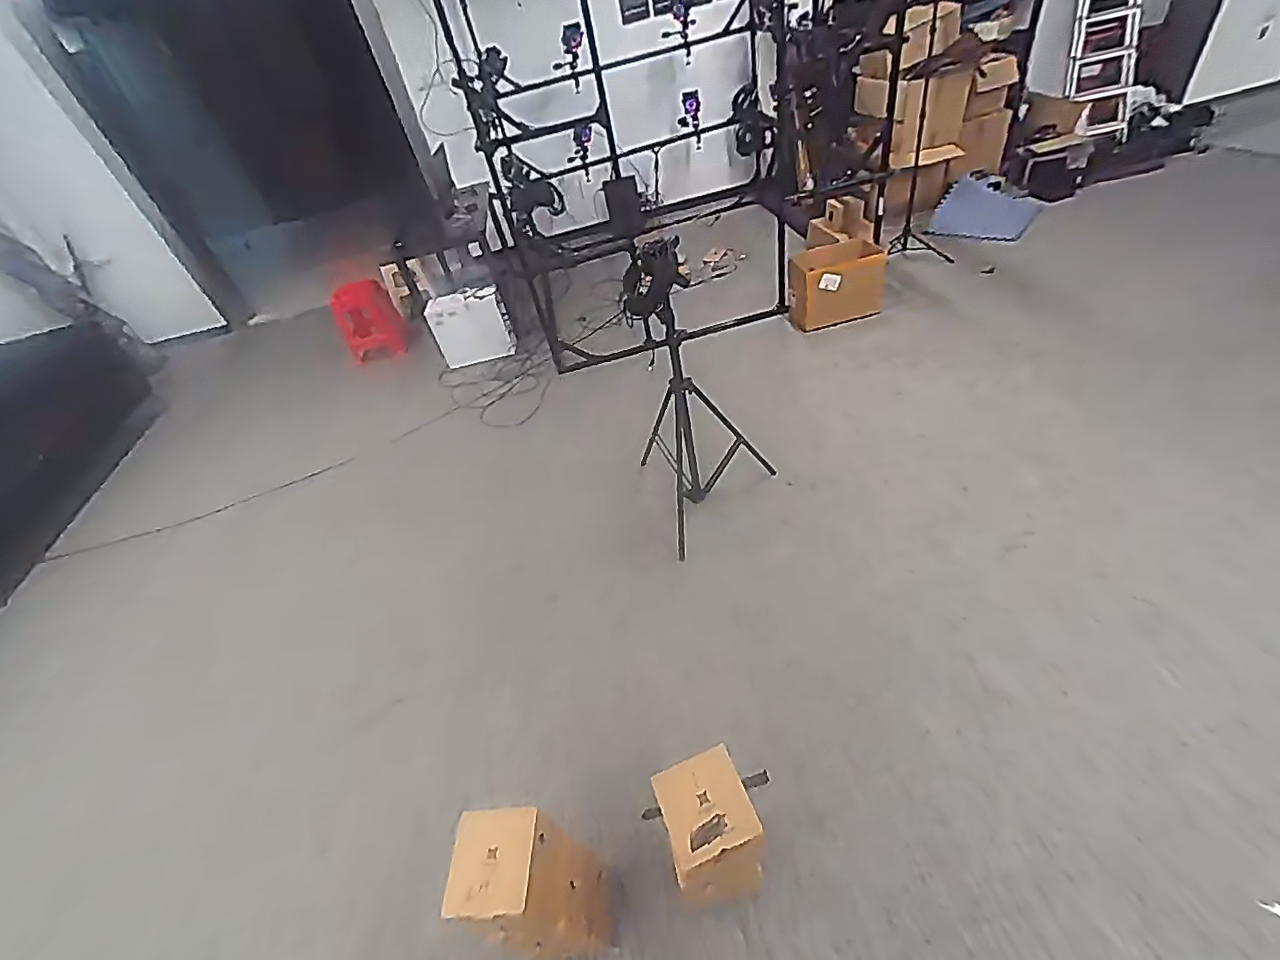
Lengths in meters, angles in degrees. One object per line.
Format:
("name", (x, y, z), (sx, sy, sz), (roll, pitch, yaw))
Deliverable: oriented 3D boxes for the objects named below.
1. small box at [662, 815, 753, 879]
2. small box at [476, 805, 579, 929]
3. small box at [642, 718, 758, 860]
("small box", (0.136, 0.725, 1.171), (0.168, 0.176, 0.179), (-16, 42, -2))
("small box", (-0.233, 0.833, 1.163), (0.168, 0.176, 0.179), (-13, 43, 4))
("small box", (0.120, 0.608, 1.054), (0.168, 0.176, 0.179), (-21, 43, -7))
